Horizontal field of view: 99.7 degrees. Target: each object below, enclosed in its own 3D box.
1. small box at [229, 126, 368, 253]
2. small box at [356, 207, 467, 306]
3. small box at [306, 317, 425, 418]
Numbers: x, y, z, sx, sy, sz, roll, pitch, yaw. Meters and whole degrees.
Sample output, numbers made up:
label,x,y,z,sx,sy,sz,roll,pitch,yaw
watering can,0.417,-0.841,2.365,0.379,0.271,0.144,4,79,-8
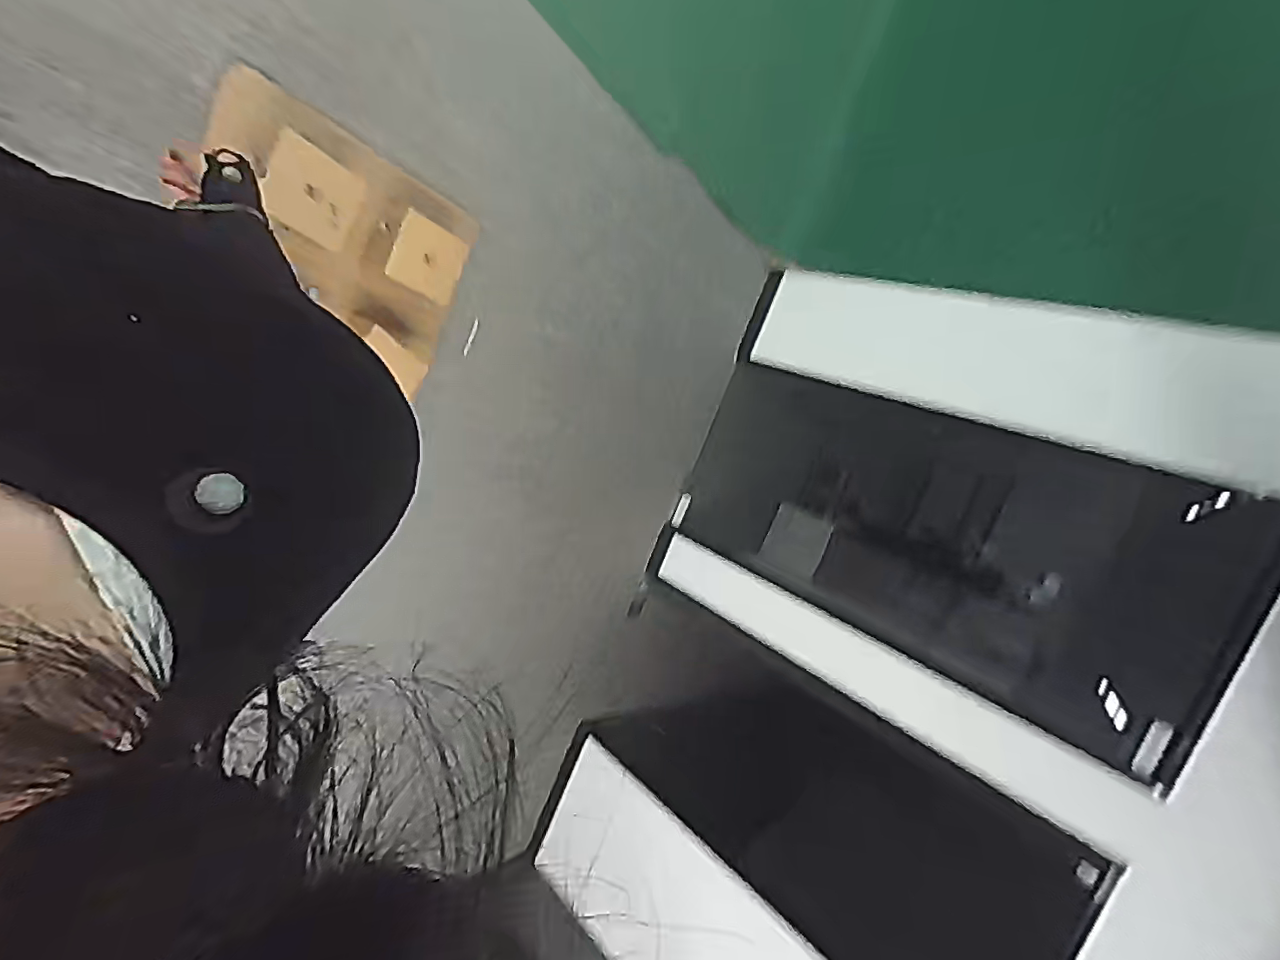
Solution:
label,x,y,z,sx,sy,sz,roll,pitch,yaw
small box,-0.727,-0.611,1.147,0.179,0.176,0.168,27,91,-54
small box,-0.579,-0.563,1.361,0.179,0.176,0.168,19,96,-54
small box,-0.698,-0.290,1.376,0.168,0.176,0.179,-56,144,-11
